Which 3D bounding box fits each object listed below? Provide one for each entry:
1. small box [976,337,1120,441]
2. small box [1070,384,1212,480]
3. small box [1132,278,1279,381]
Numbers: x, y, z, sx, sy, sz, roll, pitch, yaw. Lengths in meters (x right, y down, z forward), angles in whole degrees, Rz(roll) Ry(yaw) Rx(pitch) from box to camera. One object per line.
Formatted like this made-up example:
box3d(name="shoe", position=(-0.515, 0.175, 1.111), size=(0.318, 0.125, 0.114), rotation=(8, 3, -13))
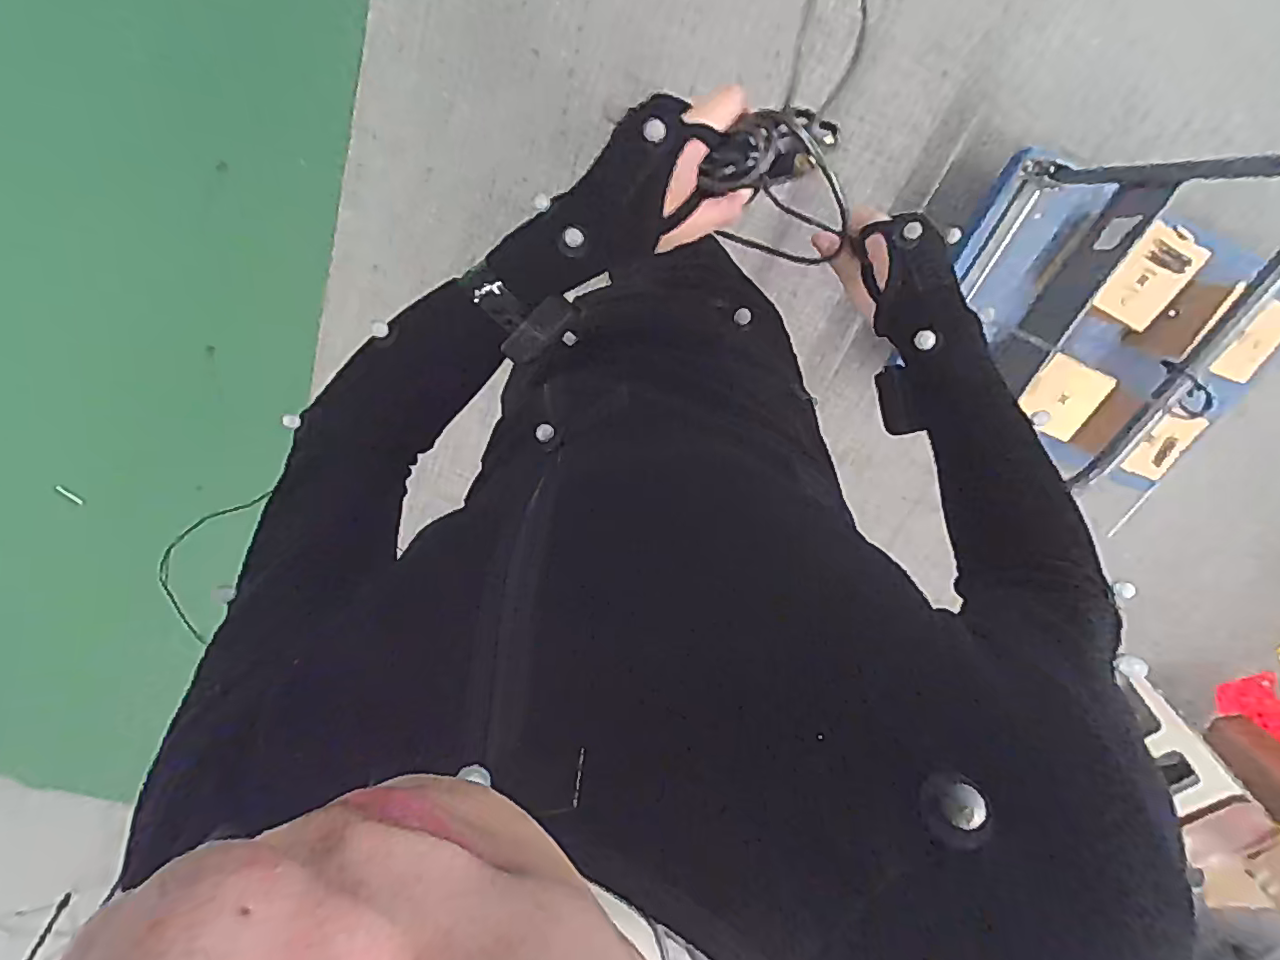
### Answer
box3d(name="small box", position=(0.960, -0.223, 1.290), size=(0.179, 0.176, 0.168), rotation=(21, 116, -8))
box3d(name="small box", position=(1.204, -0.130, 1.330), size=(0.179, 0.176, 0.168), rotation=(18, 116, -7))
box3d(name="small box", position=(1.286, -0.345, 1.216), size=(0.179, 0.176, 0.168), rotation=(16, 117, -7))
